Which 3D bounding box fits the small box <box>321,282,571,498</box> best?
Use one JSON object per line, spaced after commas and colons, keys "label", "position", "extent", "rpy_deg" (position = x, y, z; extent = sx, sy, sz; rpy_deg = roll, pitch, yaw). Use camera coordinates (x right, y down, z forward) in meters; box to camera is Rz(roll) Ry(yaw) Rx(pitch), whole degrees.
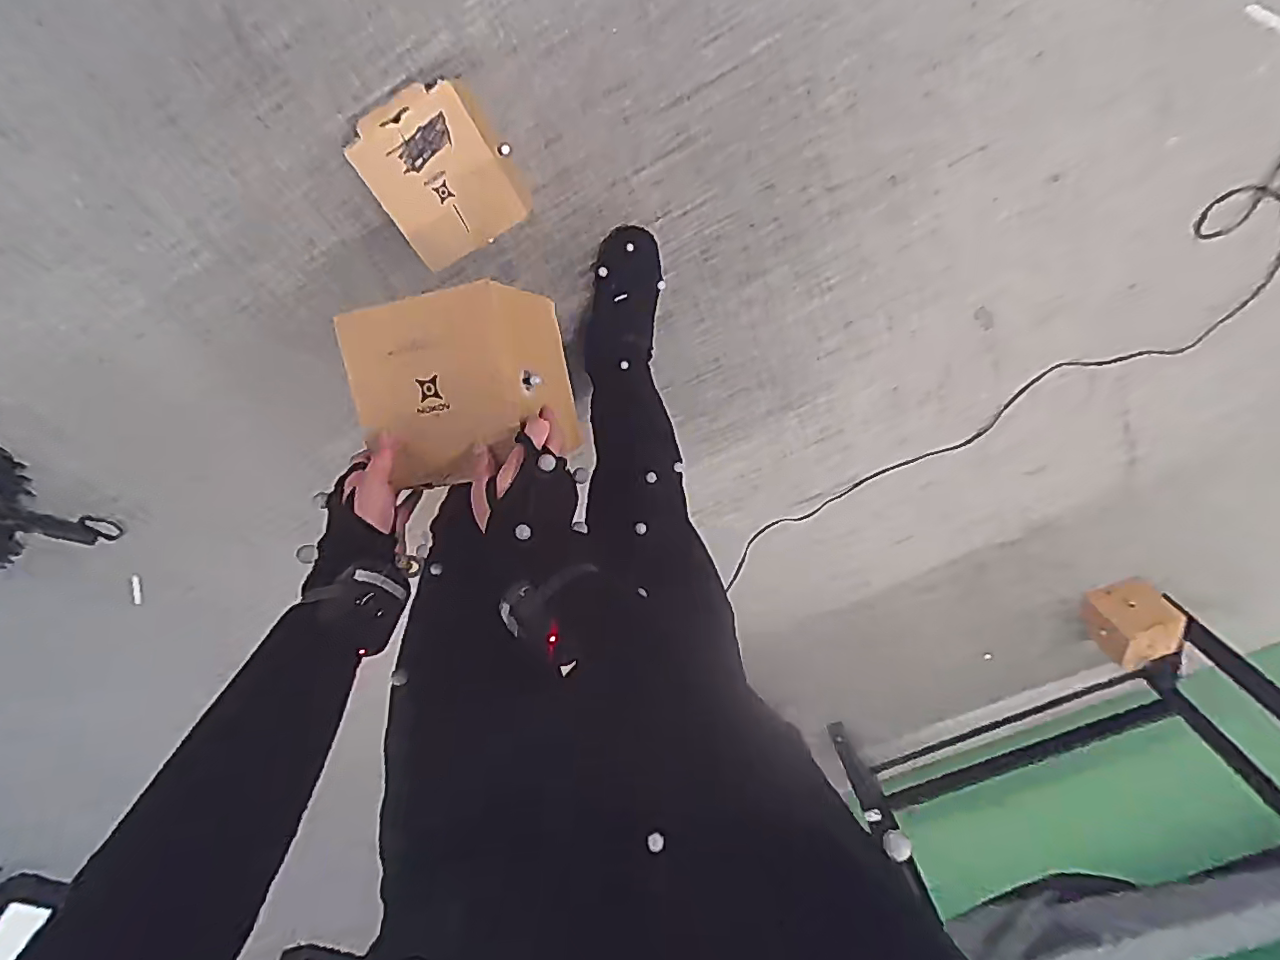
{"label": "small box", "position": [-0.185, -0.093, 0.572], "extent": [0.168, 0.176, 0.179], "rpy_deg": [-9, 99, 13]}

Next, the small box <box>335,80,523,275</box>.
{"label": "small box", "position": [-0.284, -0.430, 0.772], "extent": [0.168, 0.176, 0.179], "rpy_deg": [-27, 126, 10]}
